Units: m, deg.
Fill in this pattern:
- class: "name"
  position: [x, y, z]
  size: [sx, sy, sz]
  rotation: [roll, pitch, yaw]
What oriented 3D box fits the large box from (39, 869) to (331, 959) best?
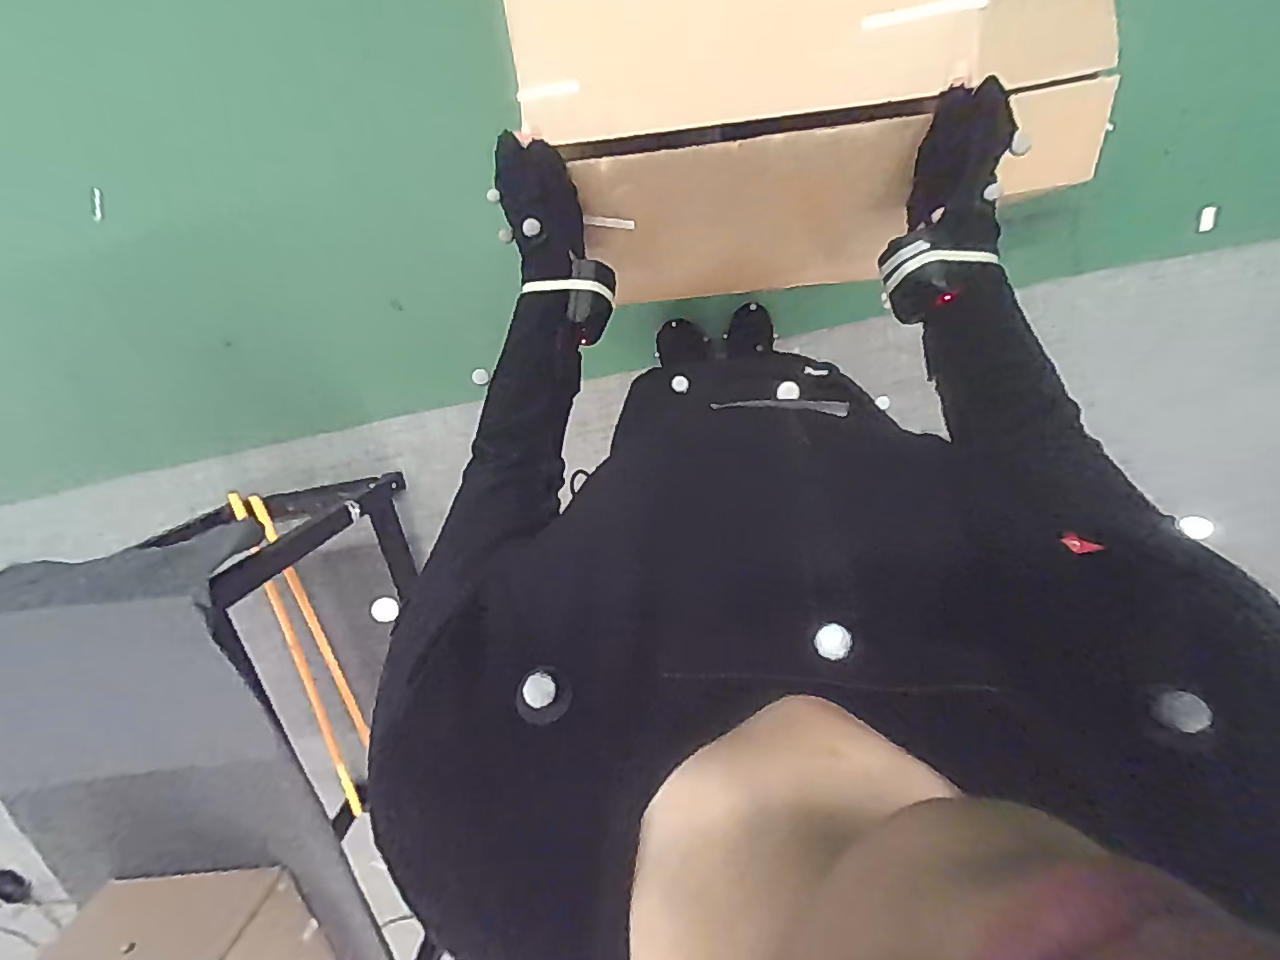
- class: "large box"
  position: [-0.862, 0.971, 0.964]
  size: [0.408, 0.320, 0.320]
  rotation: [-11, 107, 6]
